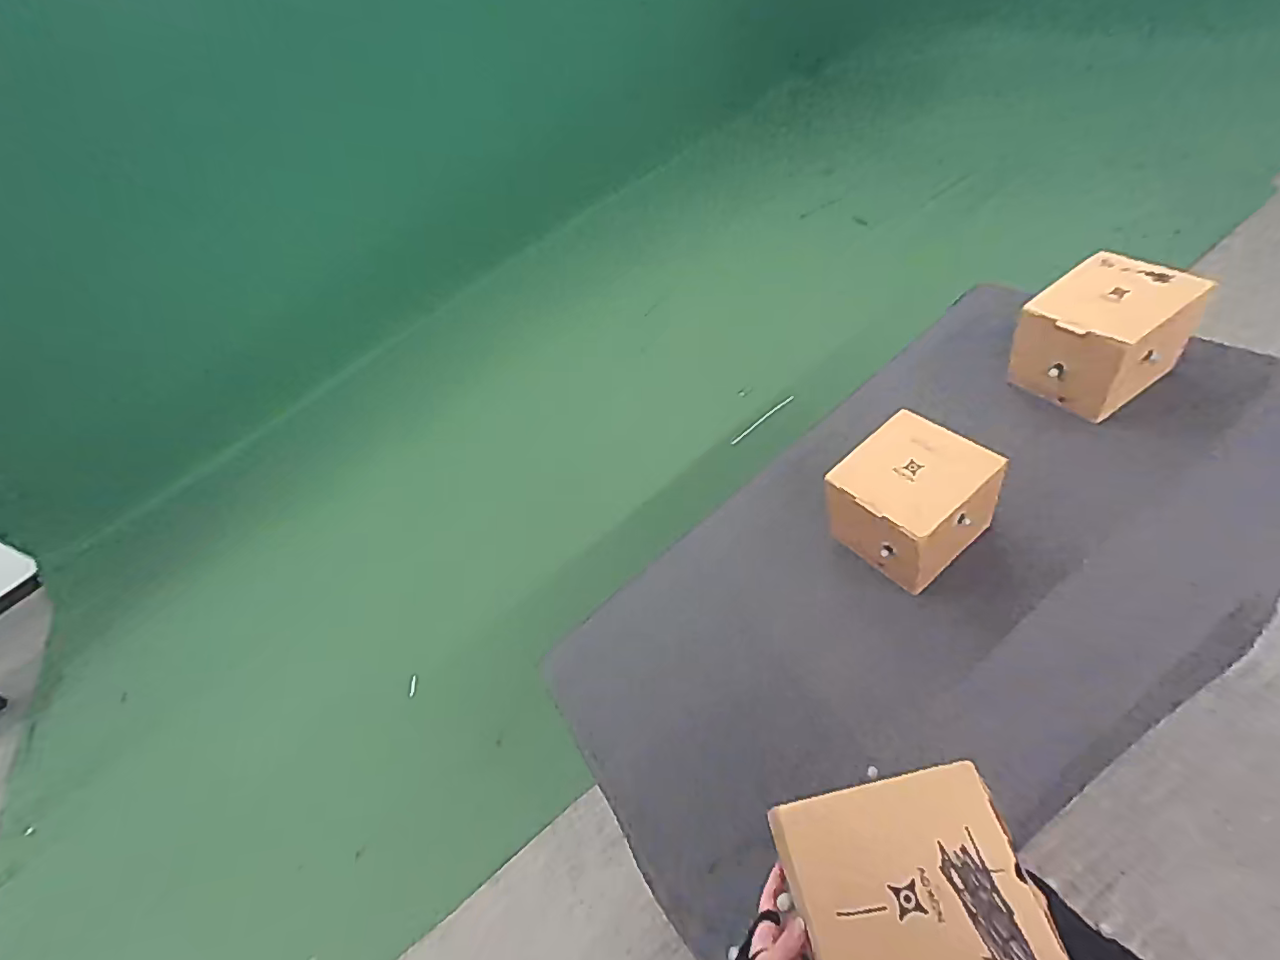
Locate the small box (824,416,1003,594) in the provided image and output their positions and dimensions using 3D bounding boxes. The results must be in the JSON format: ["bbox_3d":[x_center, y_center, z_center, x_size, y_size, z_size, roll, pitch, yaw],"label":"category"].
[{"bbox_3d":[0.411,0.042,0.828,0.179,0.176,0.168,-38,48,-11],"label":"small box"}]

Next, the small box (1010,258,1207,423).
[{"bbox_3d":[0.750,-0.226,0.893,0.179,0.176,0.168,-35,47,-5],"label":"small box"}]
